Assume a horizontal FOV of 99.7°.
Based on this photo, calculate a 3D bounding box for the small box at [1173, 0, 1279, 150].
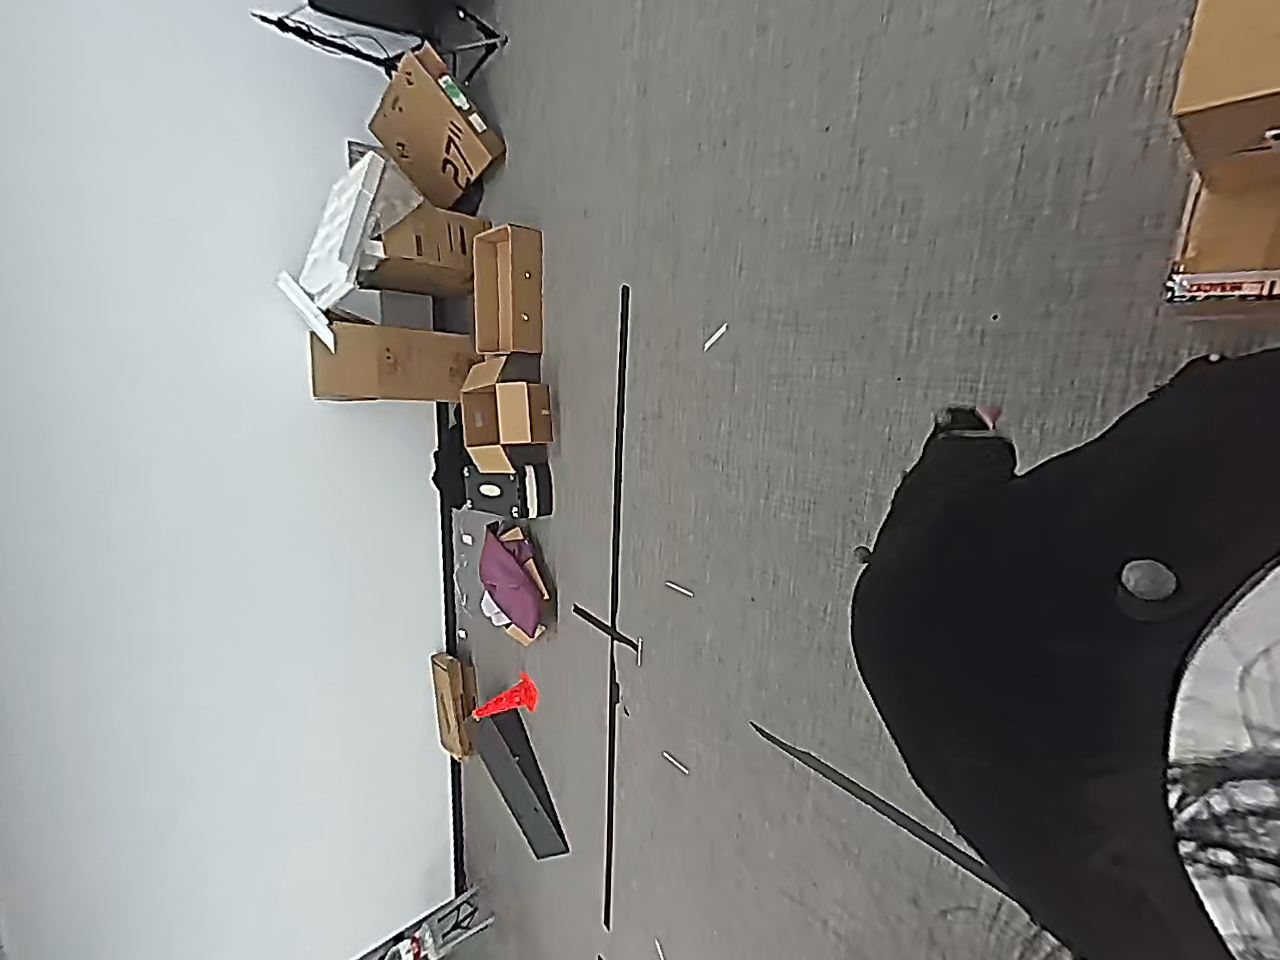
[{"bbox_3d":[0.604,-0.418,0.466,0.168,0.176,0.179,18,112,49],"label":"small box"}]

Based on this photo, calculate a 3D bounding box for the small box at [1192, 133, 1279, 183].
[{"bbox_3d":[0.727,-0.440,0.570,0.168,0.176,0.179,18,111,48],"label":"small box"}]
